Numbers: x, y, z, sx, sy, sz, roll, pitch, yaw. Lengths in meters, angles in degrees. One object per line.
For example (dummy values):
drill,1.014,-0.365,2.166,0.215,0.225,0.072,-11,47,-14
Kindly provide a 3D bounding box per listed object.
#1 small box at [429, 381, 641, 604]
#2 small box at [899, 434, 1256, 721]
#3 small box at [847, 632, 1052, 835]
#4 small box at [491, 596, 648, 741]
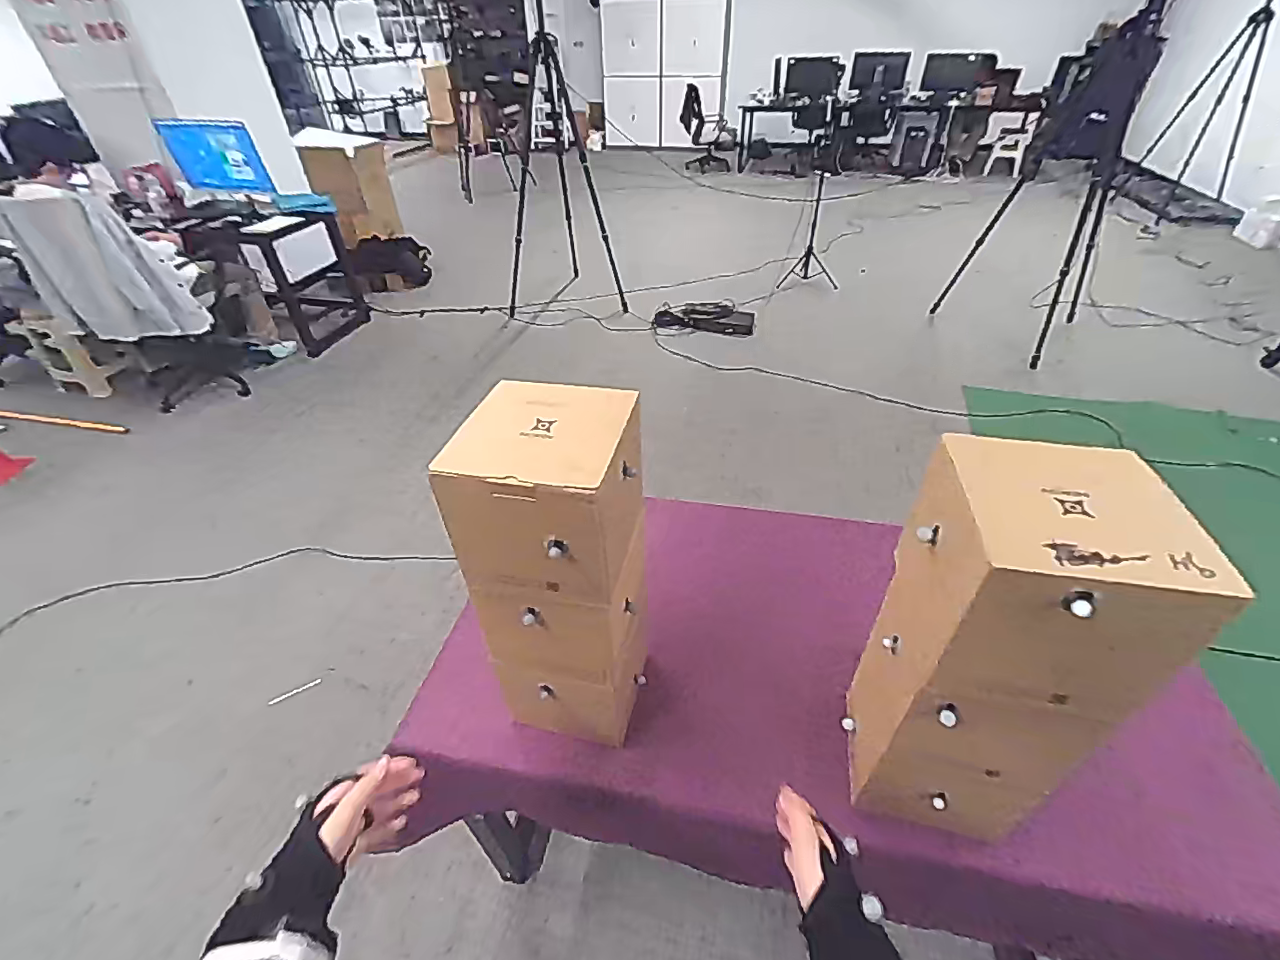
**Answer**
small box,-0.094,0.011,0.592,0.168,0.176,0.179,7,40,10
small box,0.349,0.081,0.485,0.168,0.176,0.179,6,39,11
small box,0.378,0.329,0.701,0.179,0.176,0.168,8,40,13
small box,-0.092,0.260,0.804,0.179,0.176,0.168,9,42,12
